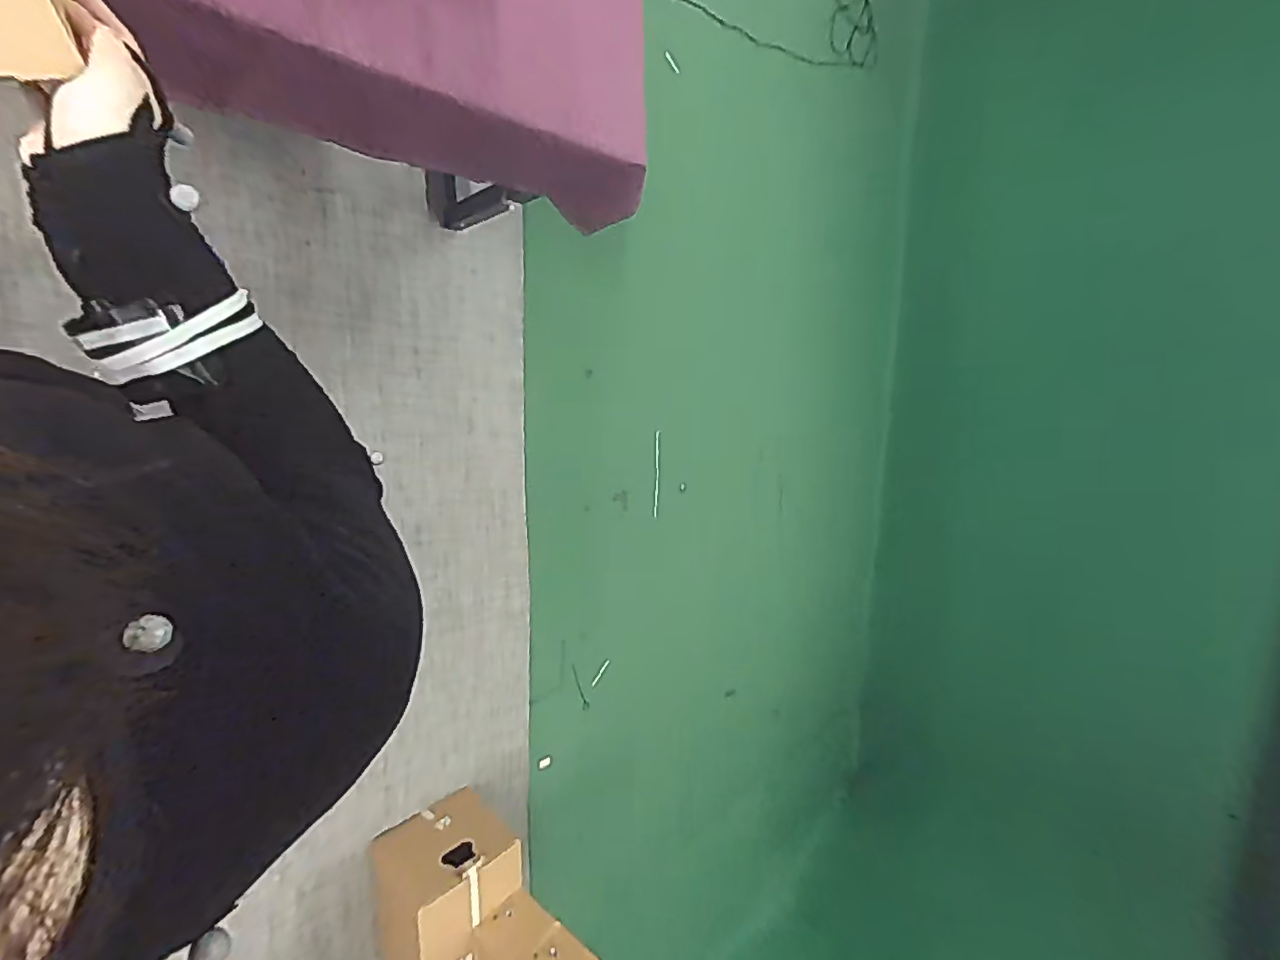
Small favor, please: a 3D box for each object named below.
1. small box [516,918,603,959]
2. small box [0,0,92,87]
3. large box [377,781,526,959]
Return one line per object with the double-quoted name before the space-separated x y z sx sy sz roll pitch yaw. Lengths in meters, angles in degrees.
"small box" -0.214 1.331 1.430 0.168 0.176 0.179 -12 105 -48
"small box" -0.397 -0.306 0.242 0.168 0.176 0.179 -21 147 -23
"large box" -0.566 1.233 1.637 0.320 0.320 0.408 -10 106 -45
